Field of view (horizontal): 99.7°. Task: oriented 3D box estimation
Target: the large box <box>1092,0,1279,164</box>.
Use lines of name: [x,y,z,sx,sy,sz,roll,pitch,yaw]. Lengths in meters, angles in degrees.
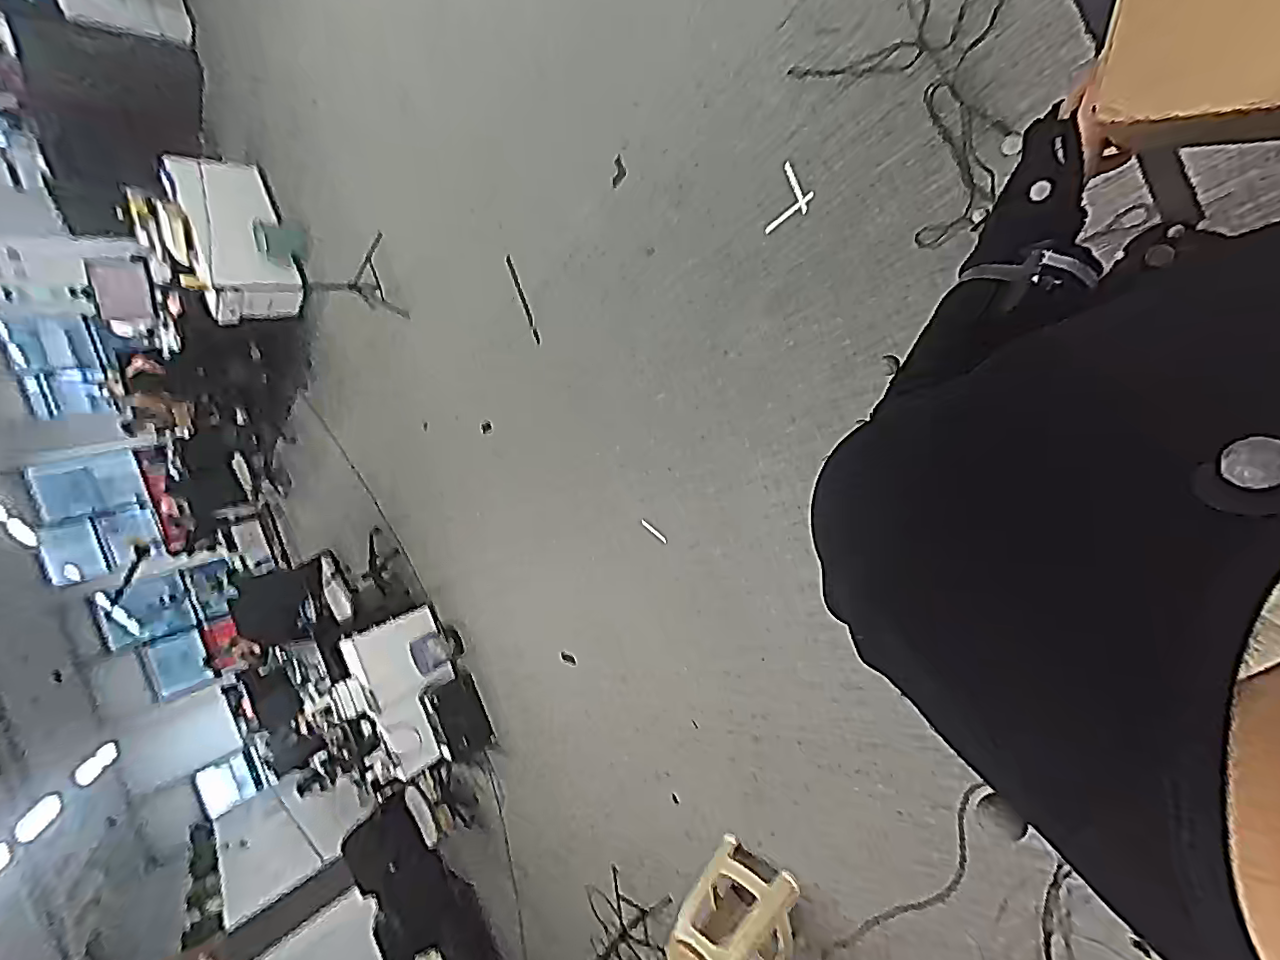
large box: [0.443,-0.310,0.177,0.408,0.320,0.320,16,123,36]
